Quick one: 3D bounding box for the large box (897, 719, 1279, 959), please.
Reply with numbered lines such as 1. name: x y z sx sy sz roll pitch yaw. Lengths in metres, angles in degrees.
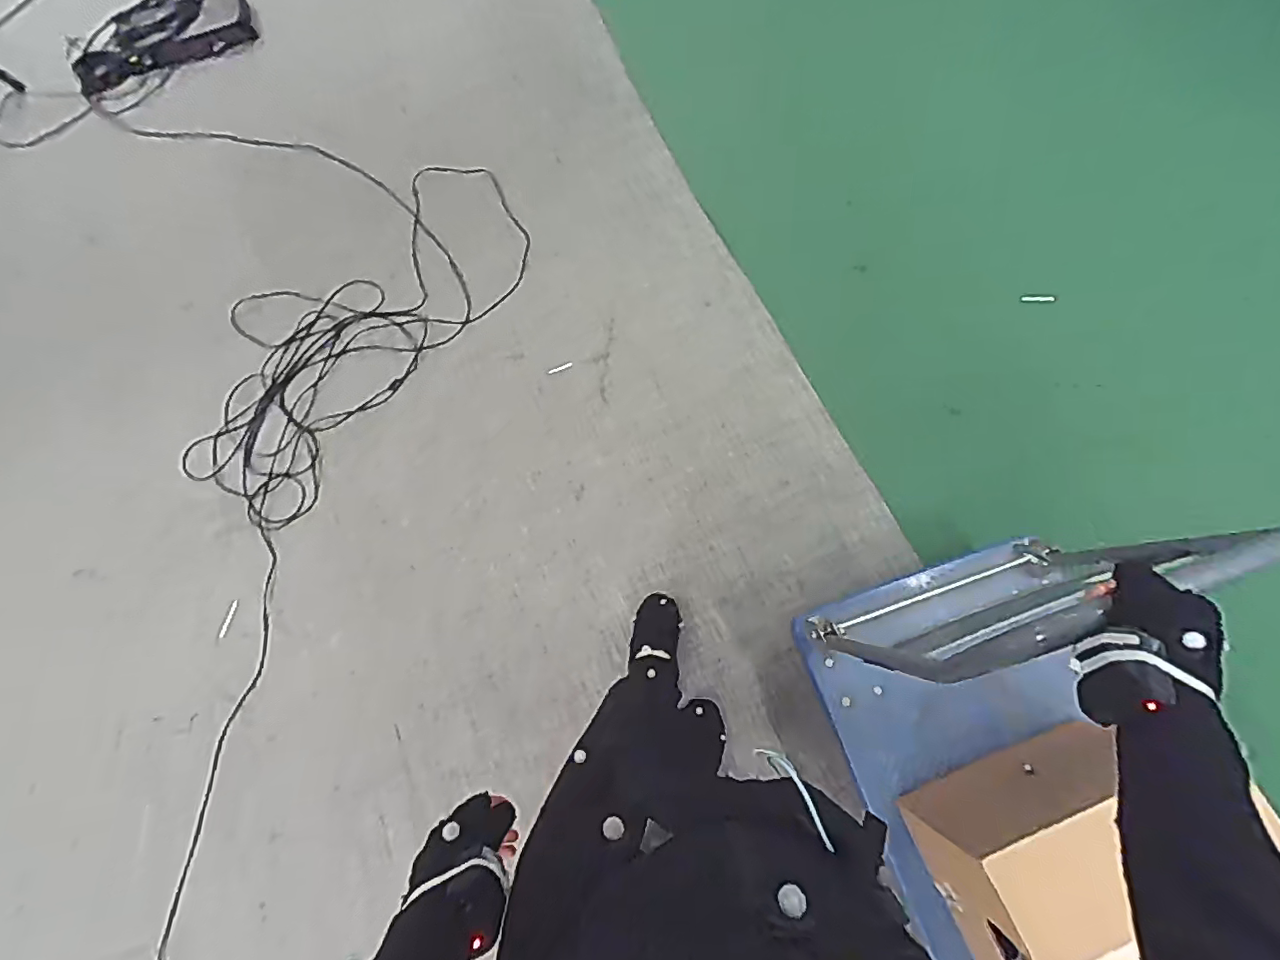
1. large box: 0.719 0.630 0.865 0.408 0.320 0.320 -23 74 -4
